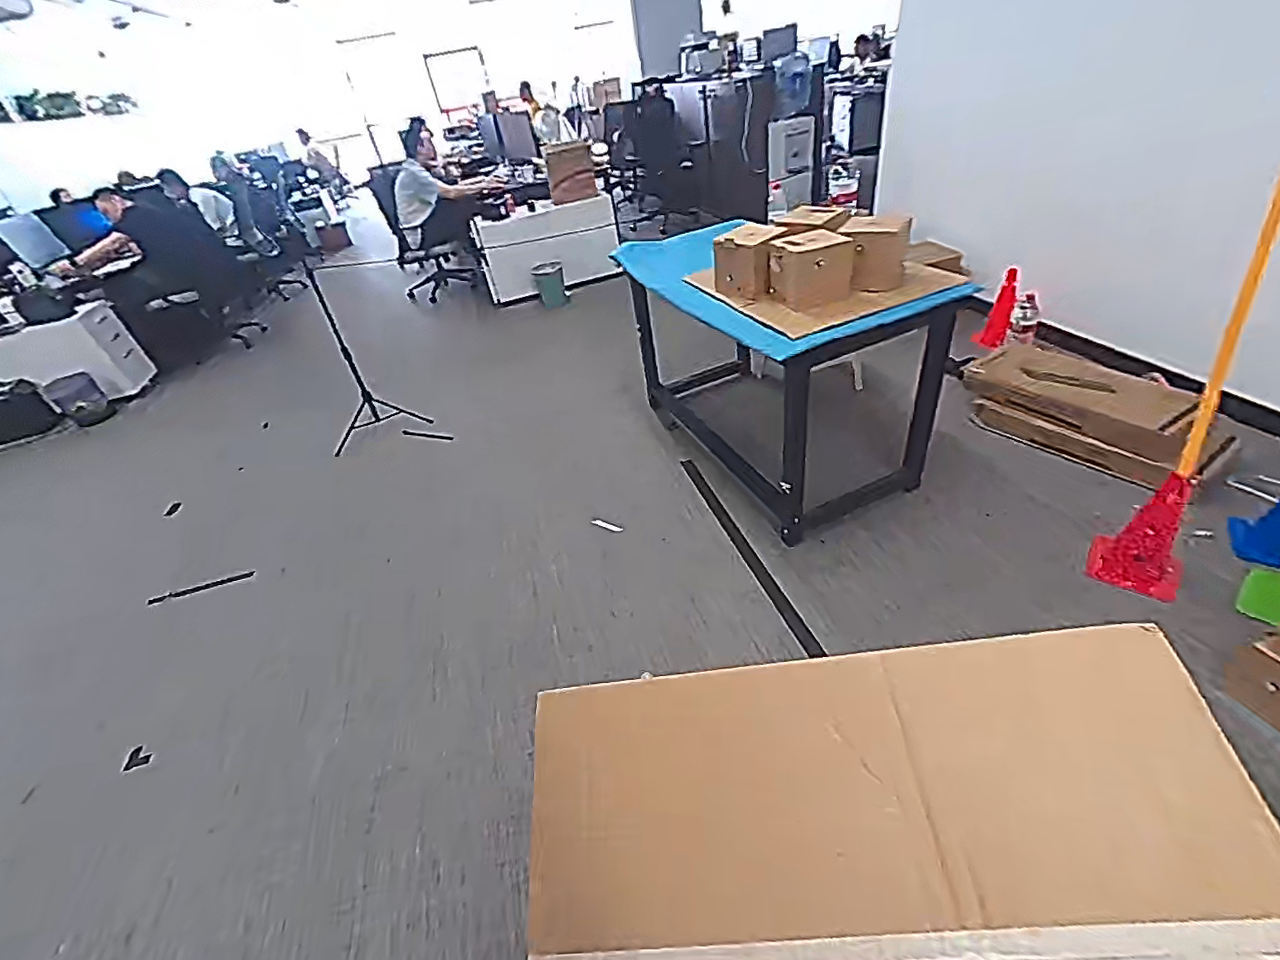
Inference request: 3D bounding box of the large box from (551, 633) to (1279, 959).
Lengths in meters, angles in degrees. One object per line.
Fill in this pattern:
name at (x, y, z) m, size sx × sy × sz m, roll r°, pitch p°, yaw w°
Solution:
large box at (0.170, 0.339, 0.419) m, size 0.408 × 0.320 × 0.320 m, roll -10°, pitch 58°, yaw 8°
